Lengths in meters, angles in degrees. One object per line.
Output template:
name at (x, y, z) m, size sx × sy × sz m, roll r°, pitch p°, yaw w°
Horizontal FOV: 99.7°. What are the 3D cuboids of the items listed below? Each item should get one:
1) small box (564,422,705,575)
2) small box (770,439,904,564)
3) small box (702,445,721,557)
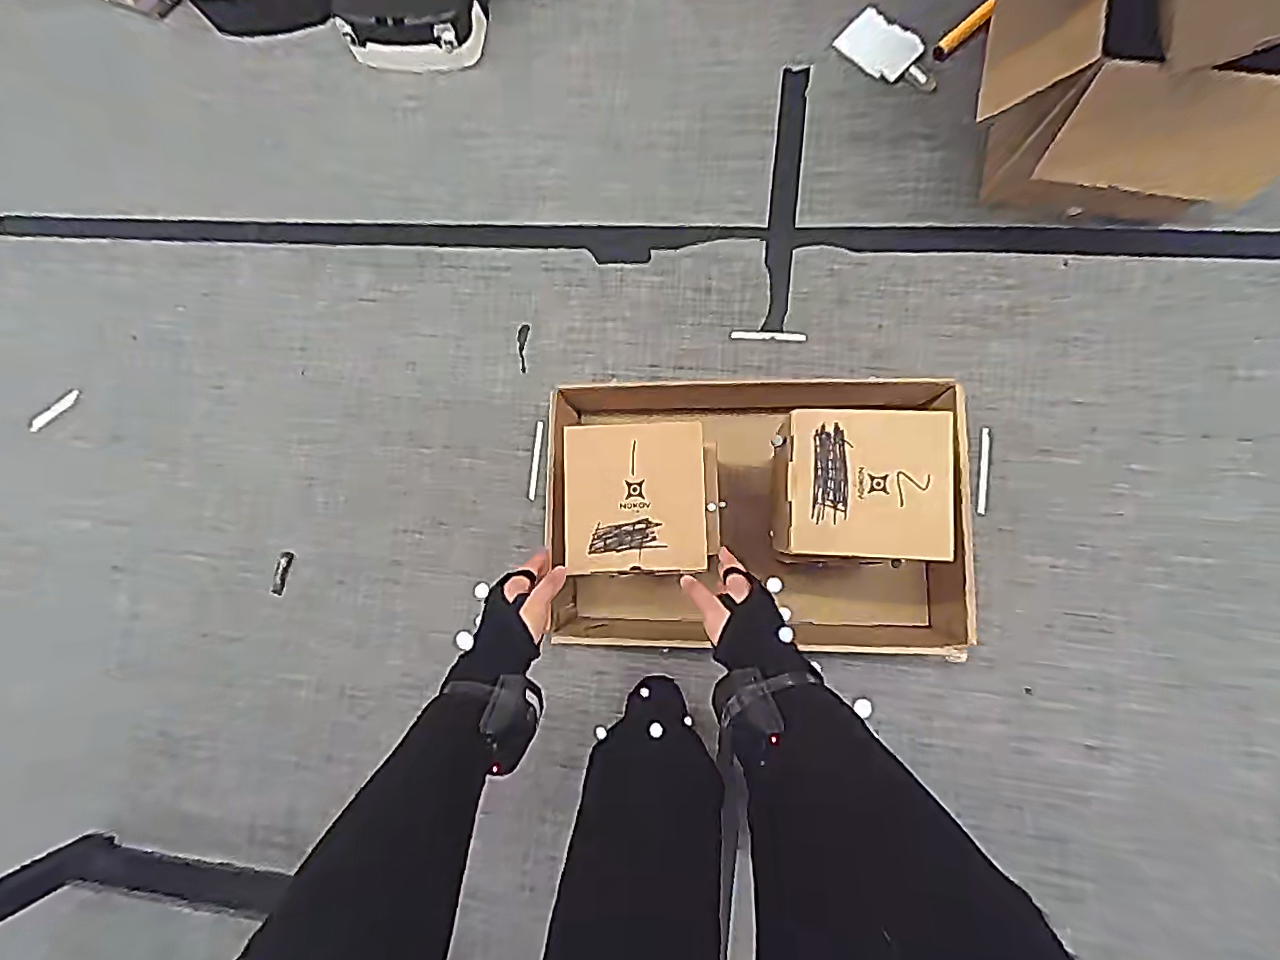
small box at (0.000, 0.028, 0.704) m, size 0.168 × 0.176 × 0.179 m, roll -2°, pitch 83°, yaw 5°
small box at (0.293, 0.037, 0.838) m, size 0.168 × 0.176 × 0.179 m, roll 0°, pitch 85°, yaw 8°
small box at (0.034, 0.038, 0.866) m, size 0.179 × 0.176 × 0.168 m, roll -2°, pitch 84°, yaw 5°
